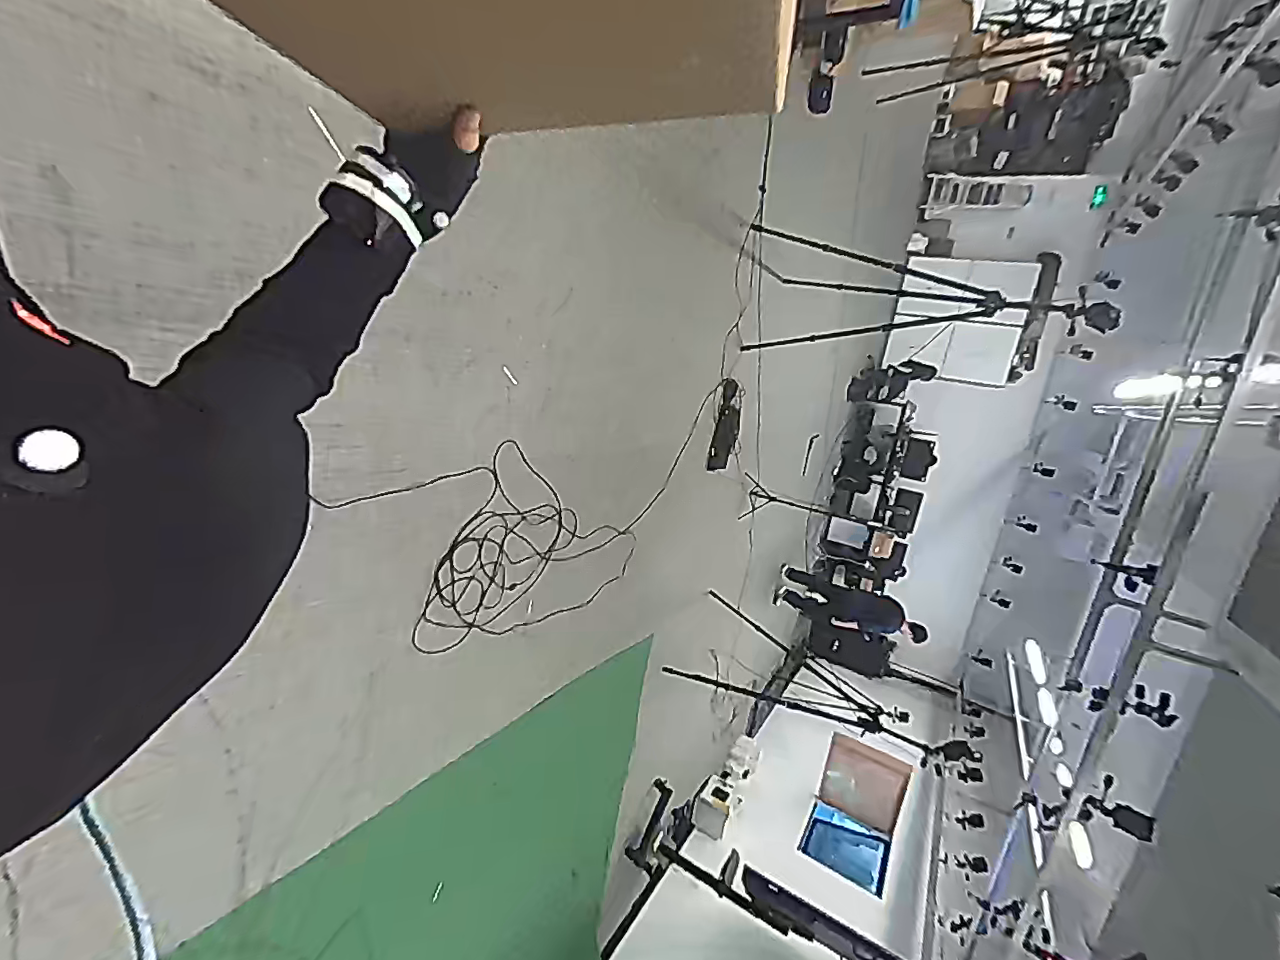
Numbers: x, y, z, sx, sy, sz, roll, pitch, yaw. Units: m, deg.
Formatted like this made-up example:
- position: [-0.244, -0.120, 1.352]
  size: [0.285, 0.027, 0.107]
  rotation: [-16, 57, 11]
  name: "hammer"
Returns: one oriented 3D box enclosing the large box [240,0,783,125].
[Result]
- position: [-0.090, -0.405, 0.213]
  size: [0.408, 0.320, 0.320]
  rotation: [-39, 132, -75]
  name: "large box"
